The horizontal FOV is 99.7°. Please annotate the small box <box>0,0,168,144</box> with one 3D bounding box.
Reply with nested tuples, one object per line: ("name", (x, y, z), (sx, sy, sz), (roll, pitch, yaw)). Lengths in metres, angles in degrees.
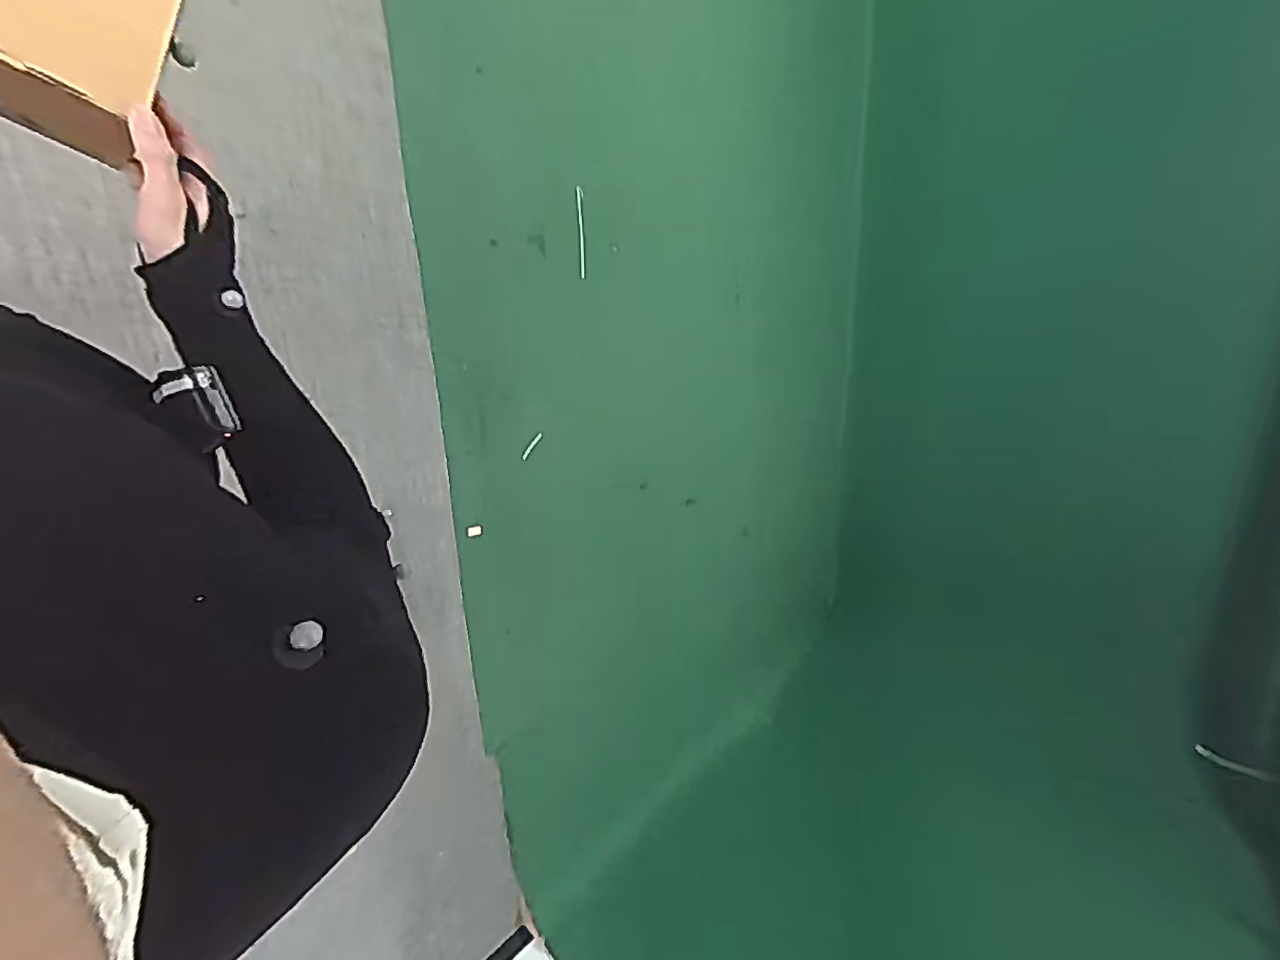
("small box", (-0.454, -0.382, 0.384), (0.168, 0.176, 0.179), (16, 91, -49))
